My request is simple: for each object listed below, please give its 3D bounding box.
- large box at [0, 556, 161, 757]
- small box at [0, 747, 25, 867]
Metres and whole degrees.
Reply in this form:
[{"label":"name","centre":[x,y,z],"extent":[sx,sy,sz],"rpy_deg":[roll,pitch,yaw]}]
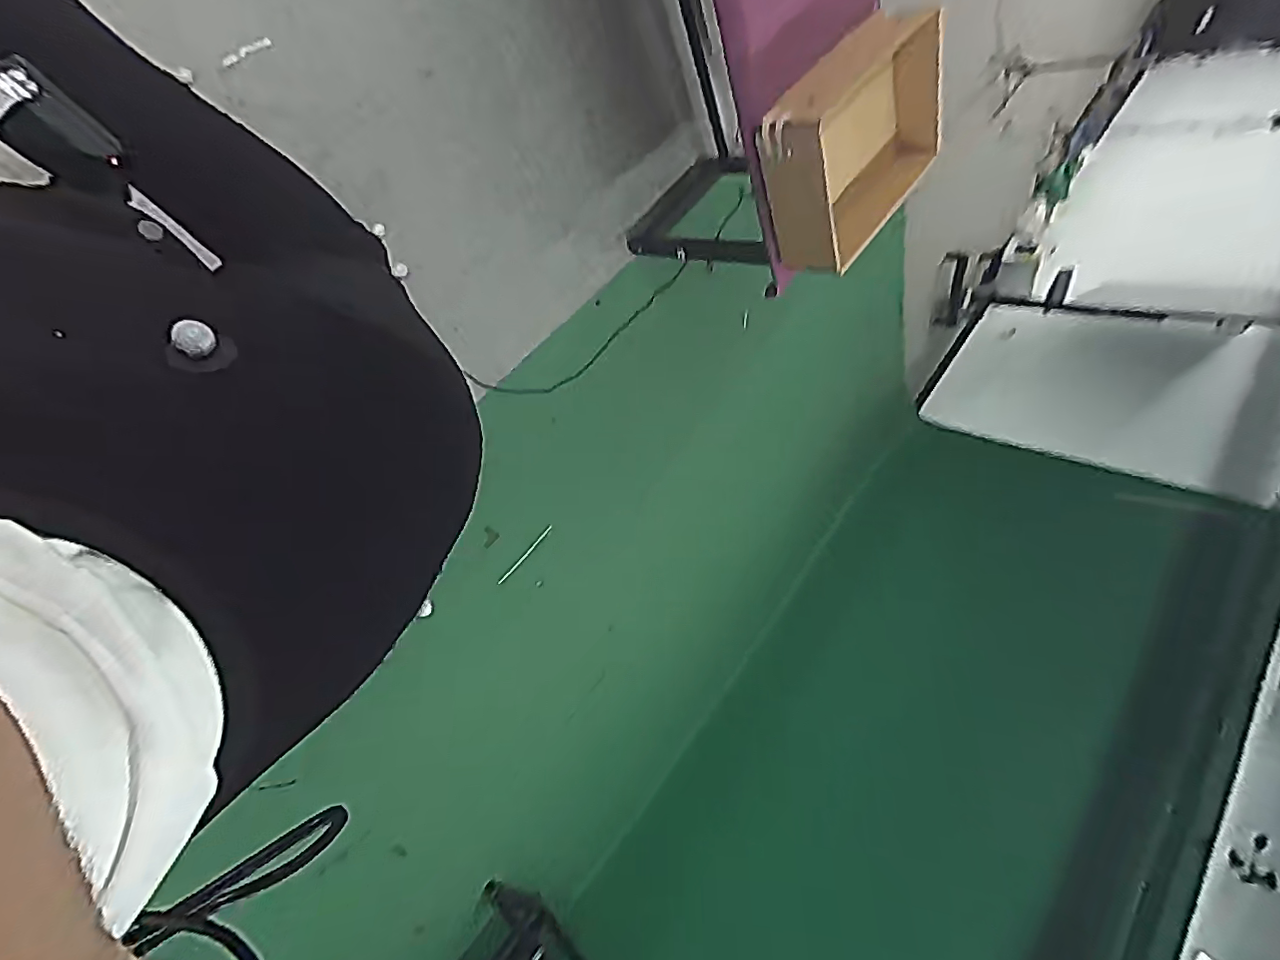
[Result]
[{"label":"large box","centre":[-1.311,0.356,1.118],"extent":[0.408,0.320,0.320],"rpy_deg":[12,102,-51]},{"label":"small box","centre":[-1.082,0.529,0.813],"extent":[0.179,0.176,0.168],"rpy_deg":[23,92,-51]}]
